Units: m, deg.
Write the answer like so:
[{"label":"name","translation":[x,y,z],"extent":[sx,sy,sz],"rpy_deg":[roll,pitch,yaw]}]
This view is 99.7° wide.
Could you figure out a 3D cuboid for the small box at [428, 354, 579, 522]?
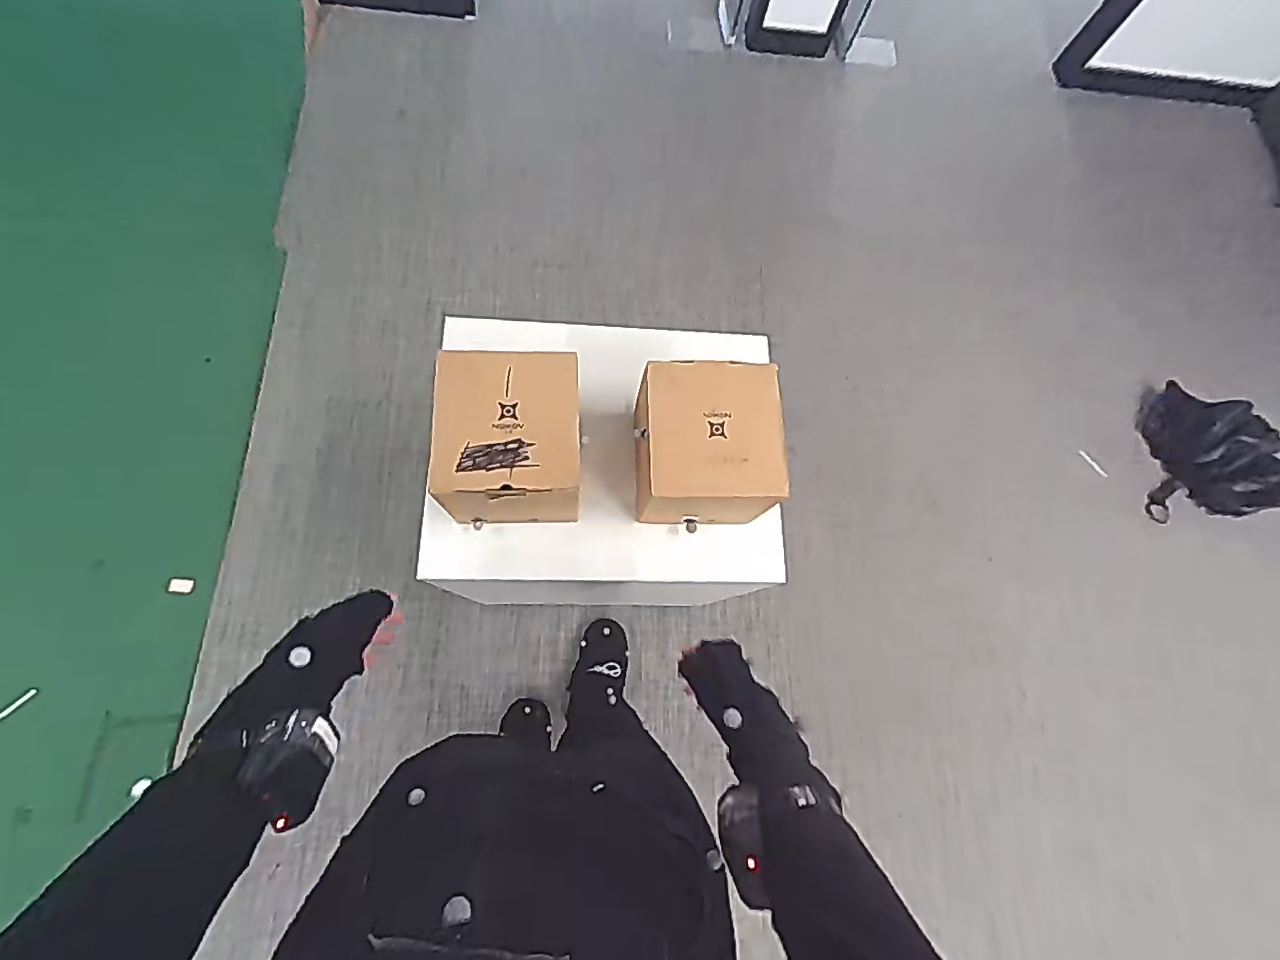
[{"label":"small box","translation":[-0.164,-0.044,0.698],"extent":[0.168,0.176,0.179],"rpy_deg":[-1,73,-7]}]

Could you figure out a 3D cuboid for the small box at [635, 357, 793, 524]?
[{"label":"small box","translation":[0.084,-0.044,0.710],"extent":[0.168,0.176,0.179],"rpy_deg":[-1,75,-6]}]
